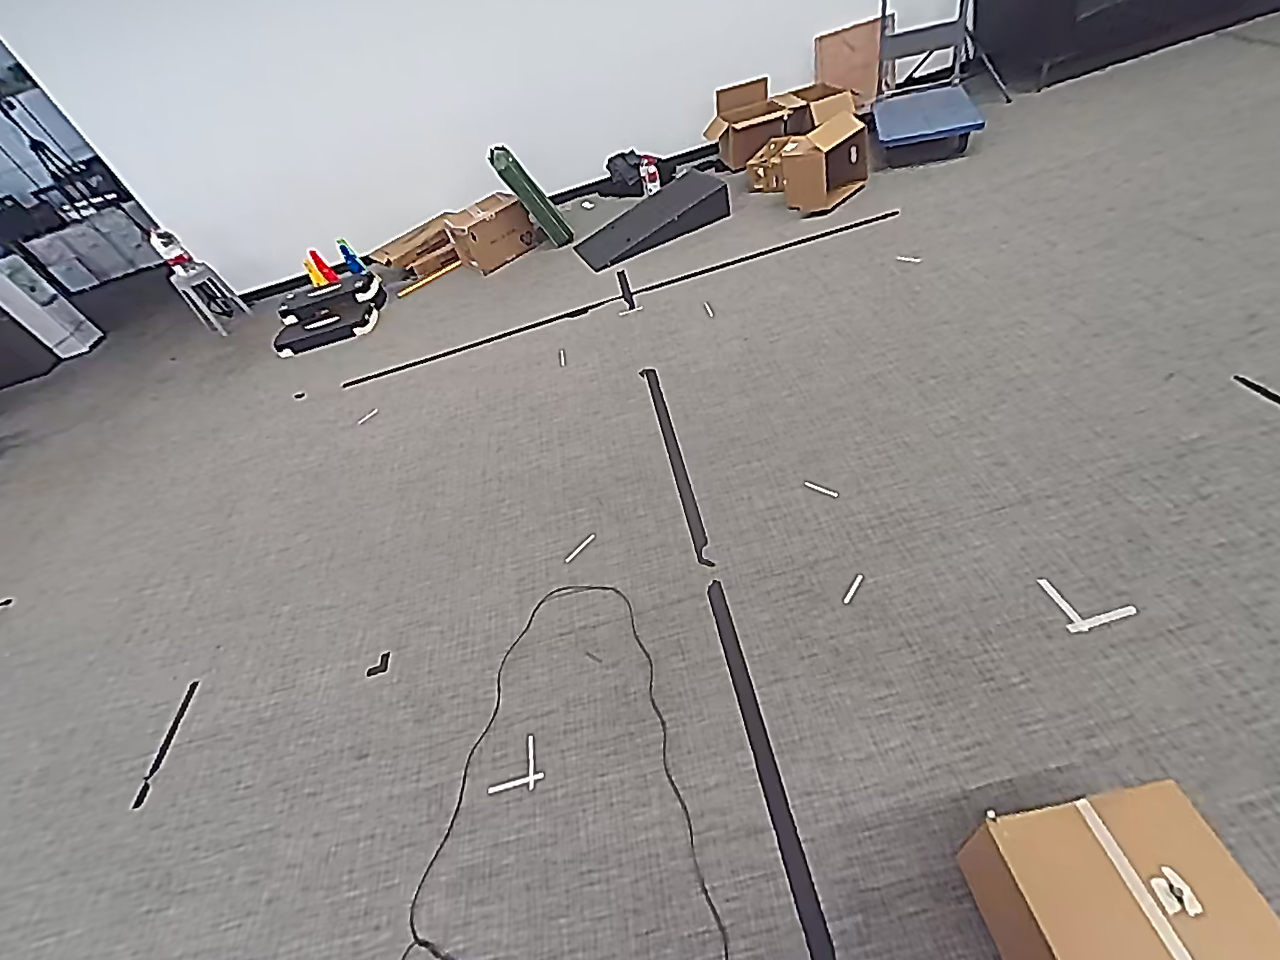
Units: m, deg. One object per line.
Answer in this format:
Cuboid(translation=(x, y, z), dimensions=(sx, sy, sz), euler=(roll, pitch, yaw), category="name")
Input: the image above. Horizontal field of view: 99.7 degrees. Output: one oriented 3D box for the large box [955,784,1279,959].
Cuboid(translation=(0.796, 0.789, 0.882), dimensions=(0.320, 0.320, 0.408), euler=(-14, 43, 3), category="large box")
